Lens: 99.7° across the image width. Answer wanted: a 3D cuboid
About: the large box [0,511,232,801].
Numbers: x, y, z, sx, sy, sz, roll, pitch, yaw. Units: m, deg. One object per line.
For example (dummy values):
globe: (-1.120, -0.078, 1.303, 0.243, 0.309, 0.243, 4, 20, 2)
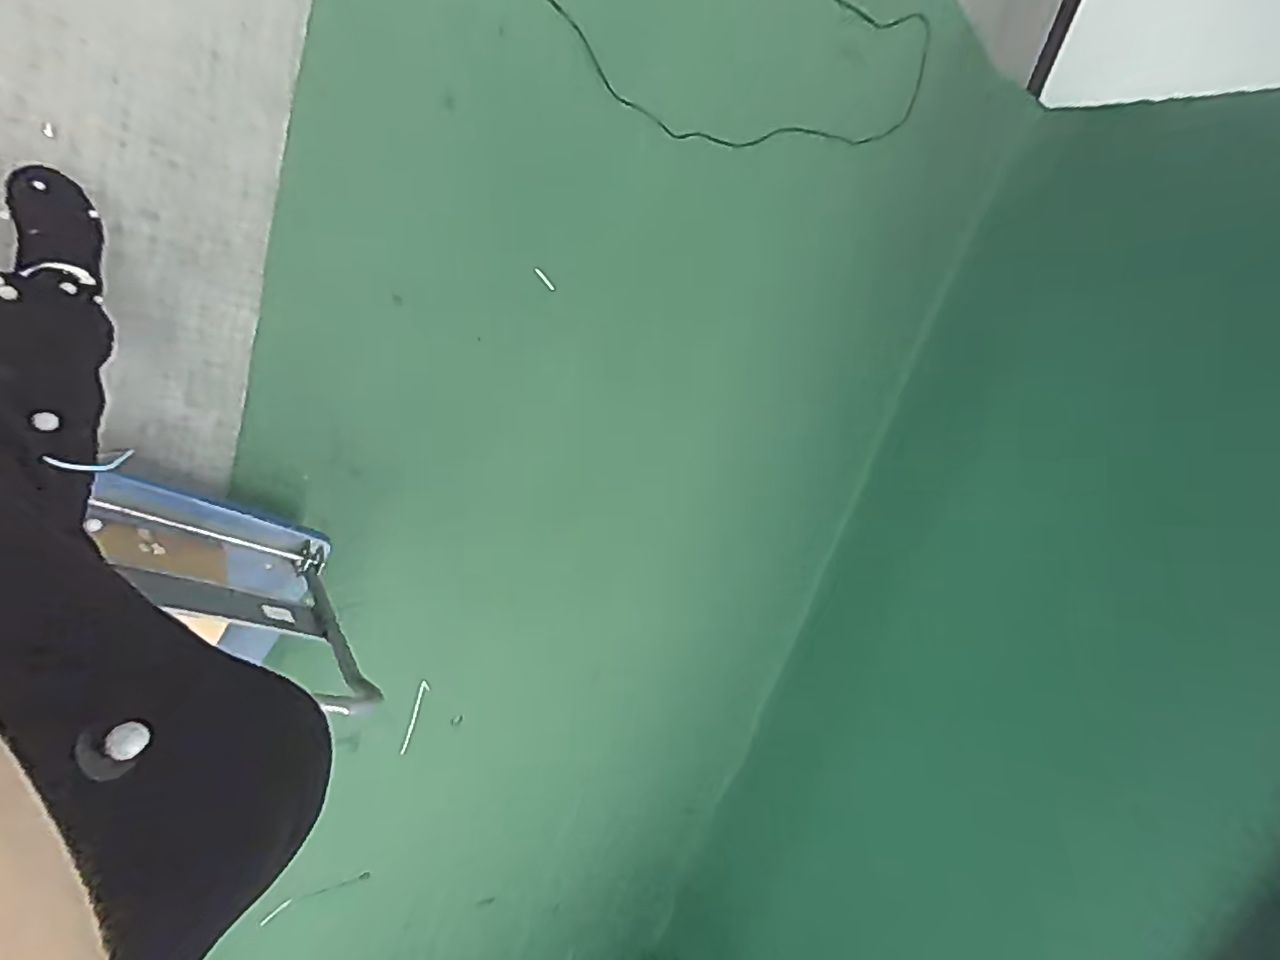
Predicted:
large box: (-1.061, 0.327, 1.041, 0.320, 0.320, 0.408, 29, 92, -44)
